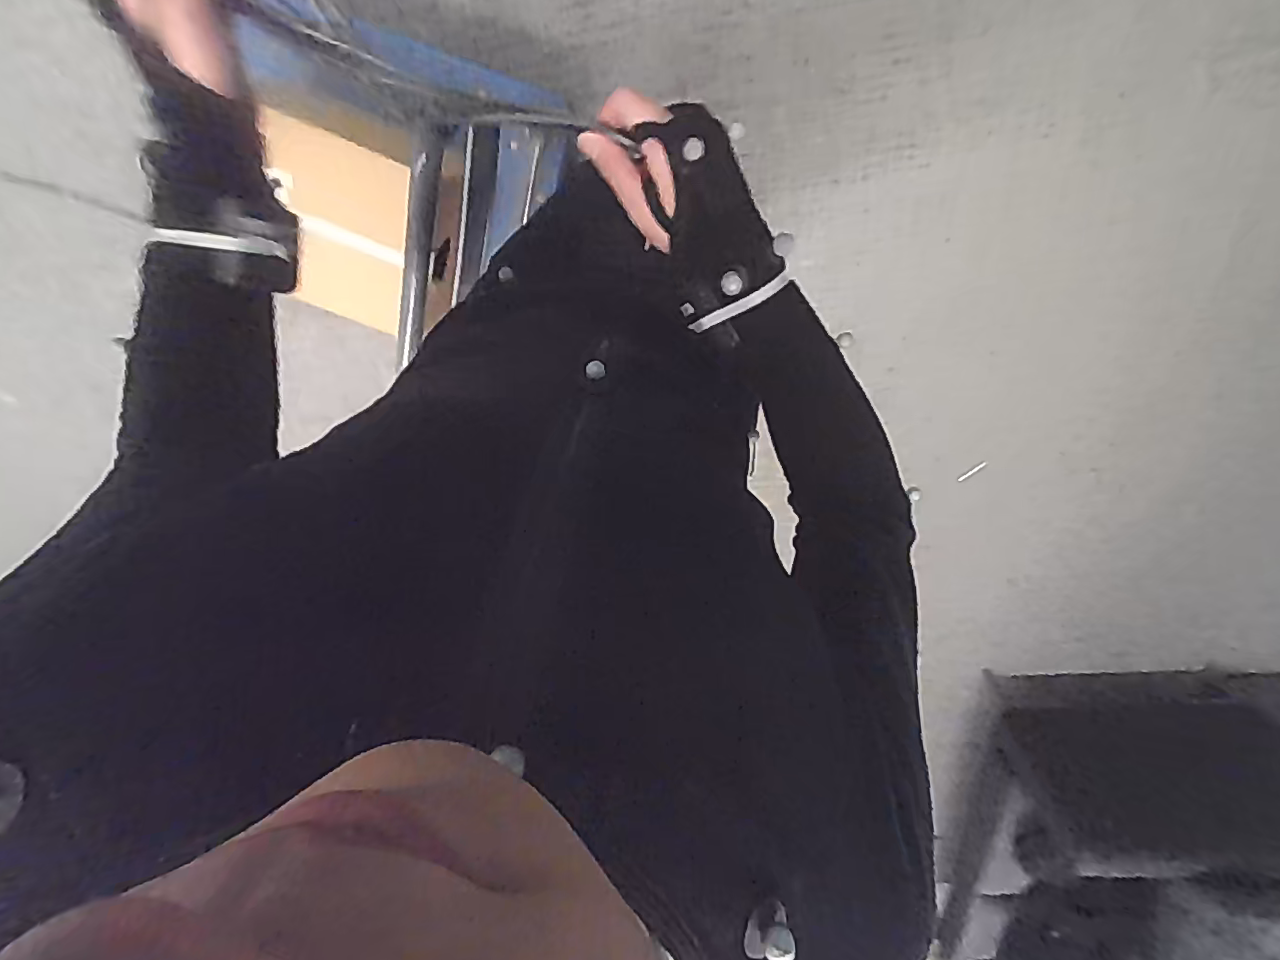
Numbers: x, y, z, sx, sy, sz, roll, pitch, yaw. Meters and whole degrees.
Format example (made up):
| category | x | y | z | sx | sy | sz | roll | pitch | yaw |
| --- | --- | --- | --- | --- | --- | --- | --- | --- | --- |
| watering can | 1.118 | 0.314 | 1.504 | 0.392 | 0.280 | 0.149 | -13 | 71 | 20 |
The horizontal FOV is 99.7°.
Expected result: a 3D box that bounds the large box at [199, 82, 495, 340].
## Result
| category | x | y | z | sx | sy | sz | roll | pitch | yaw |
| --- | --- | --- | --- | --- | --- | --- | --- | --- | --- |
| large box | -0.552 | -0.538 | 1.086 | 0.408 | 0.320 | 0.320 | 20 | 124 | -8 |
